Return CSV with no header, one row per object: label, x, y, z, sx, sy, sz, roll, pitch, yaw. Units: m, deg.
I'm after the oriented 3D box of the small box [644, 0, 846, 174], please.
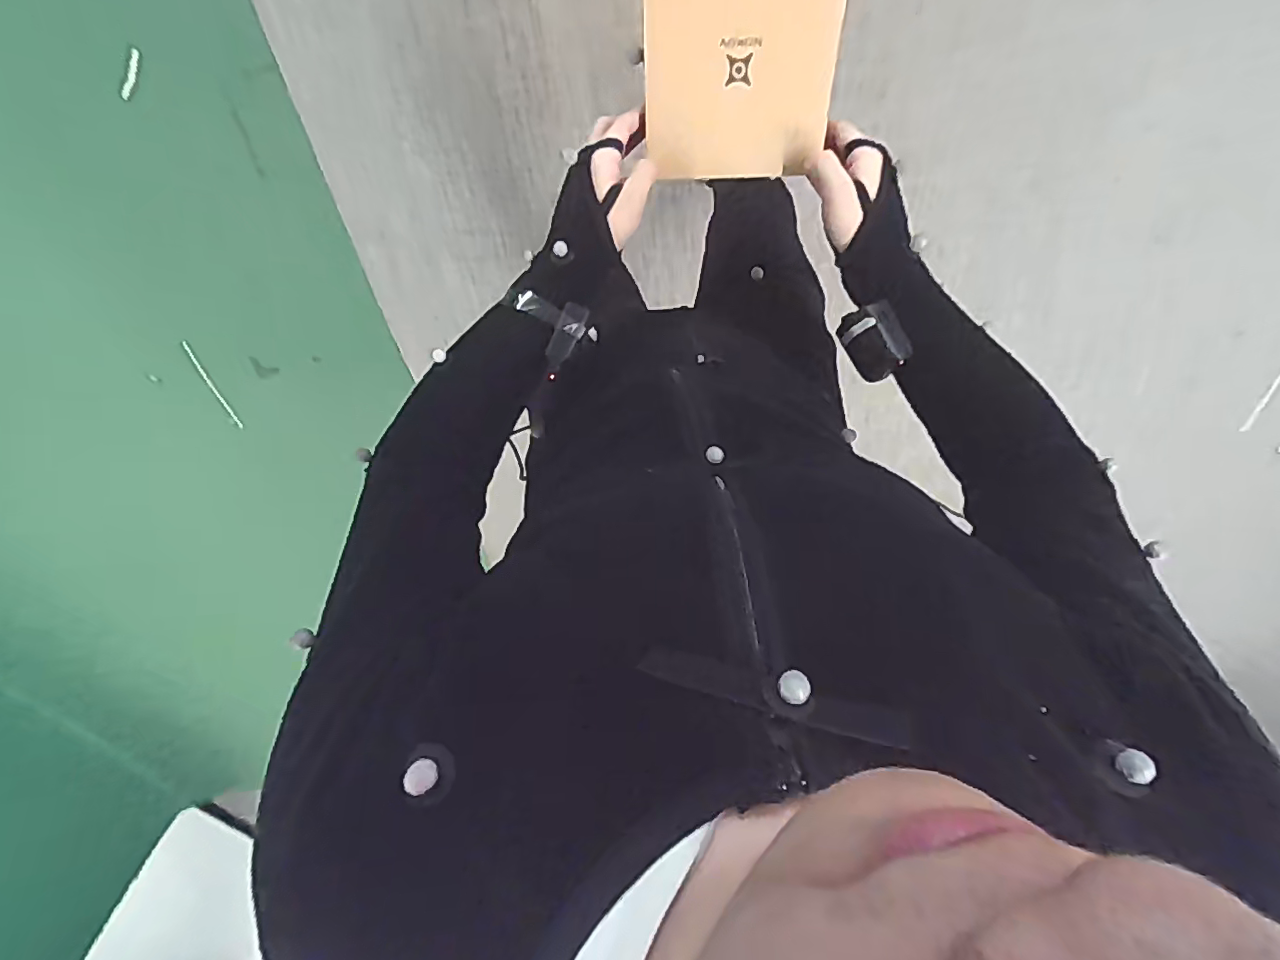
small box,0.090,-0.411,0.523,0.168,0.176,0.179,0,128,3
